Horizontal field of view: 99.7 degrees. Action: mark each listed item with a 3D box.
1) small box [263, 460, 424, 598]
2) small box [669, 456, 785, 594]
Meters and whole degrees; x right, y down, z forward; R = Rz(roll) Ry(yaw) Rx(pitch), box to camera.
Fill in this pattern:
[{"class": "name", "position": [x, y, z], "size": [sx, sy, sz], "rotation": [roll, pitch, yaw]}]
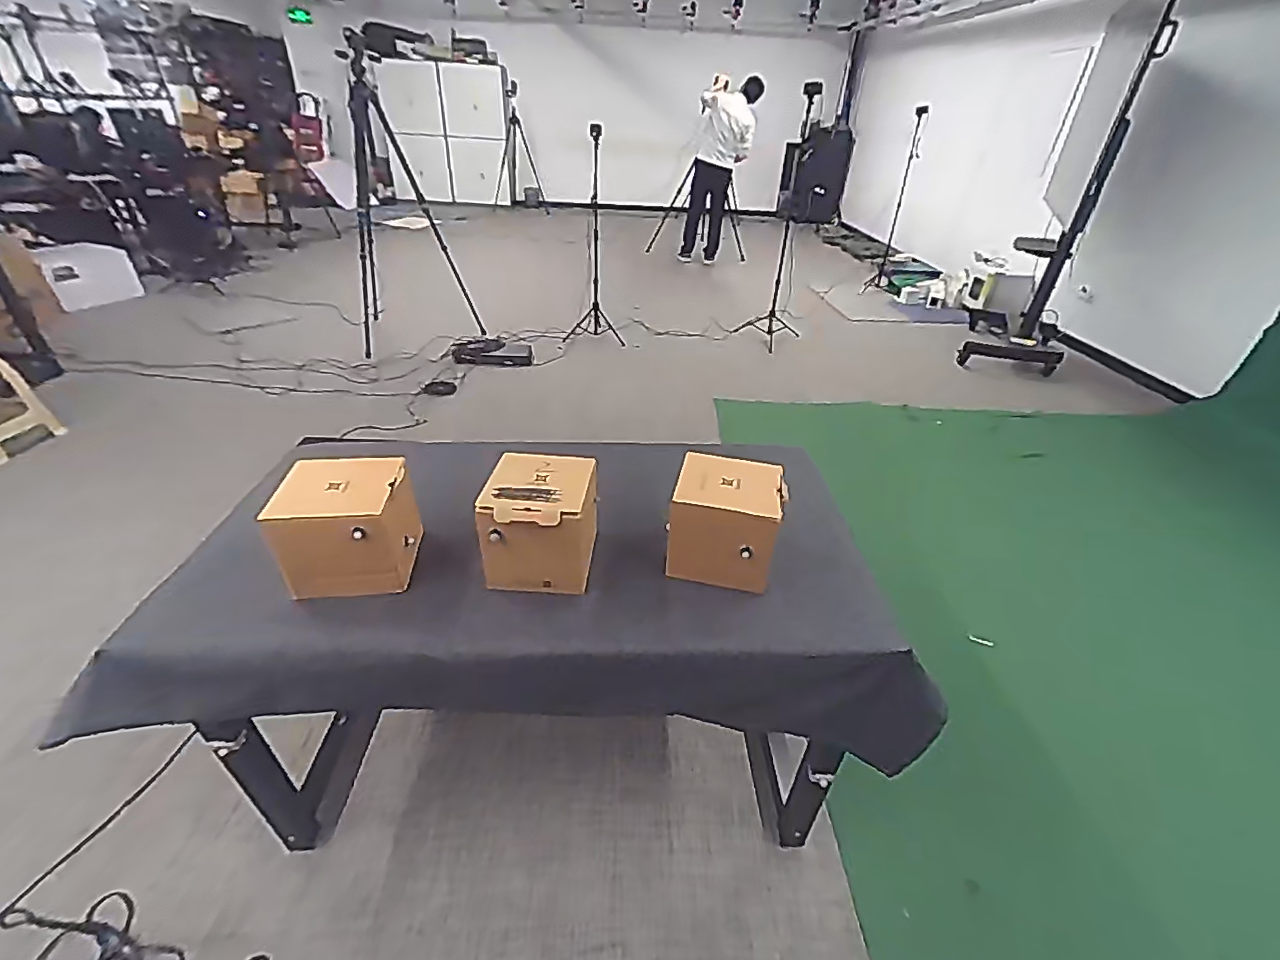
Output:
[{"class": "small box", "position": [-0.478, 0.082, 0.904], "size": [0.179, 0.176, 0.168], "rotation": [-2, 34, -9]}, {"class": "small box", "position": [0.153, 0.080, 0.959], "size": [0.179, 0.176, 0.168], "rotation": [8, 33, 10]}]
